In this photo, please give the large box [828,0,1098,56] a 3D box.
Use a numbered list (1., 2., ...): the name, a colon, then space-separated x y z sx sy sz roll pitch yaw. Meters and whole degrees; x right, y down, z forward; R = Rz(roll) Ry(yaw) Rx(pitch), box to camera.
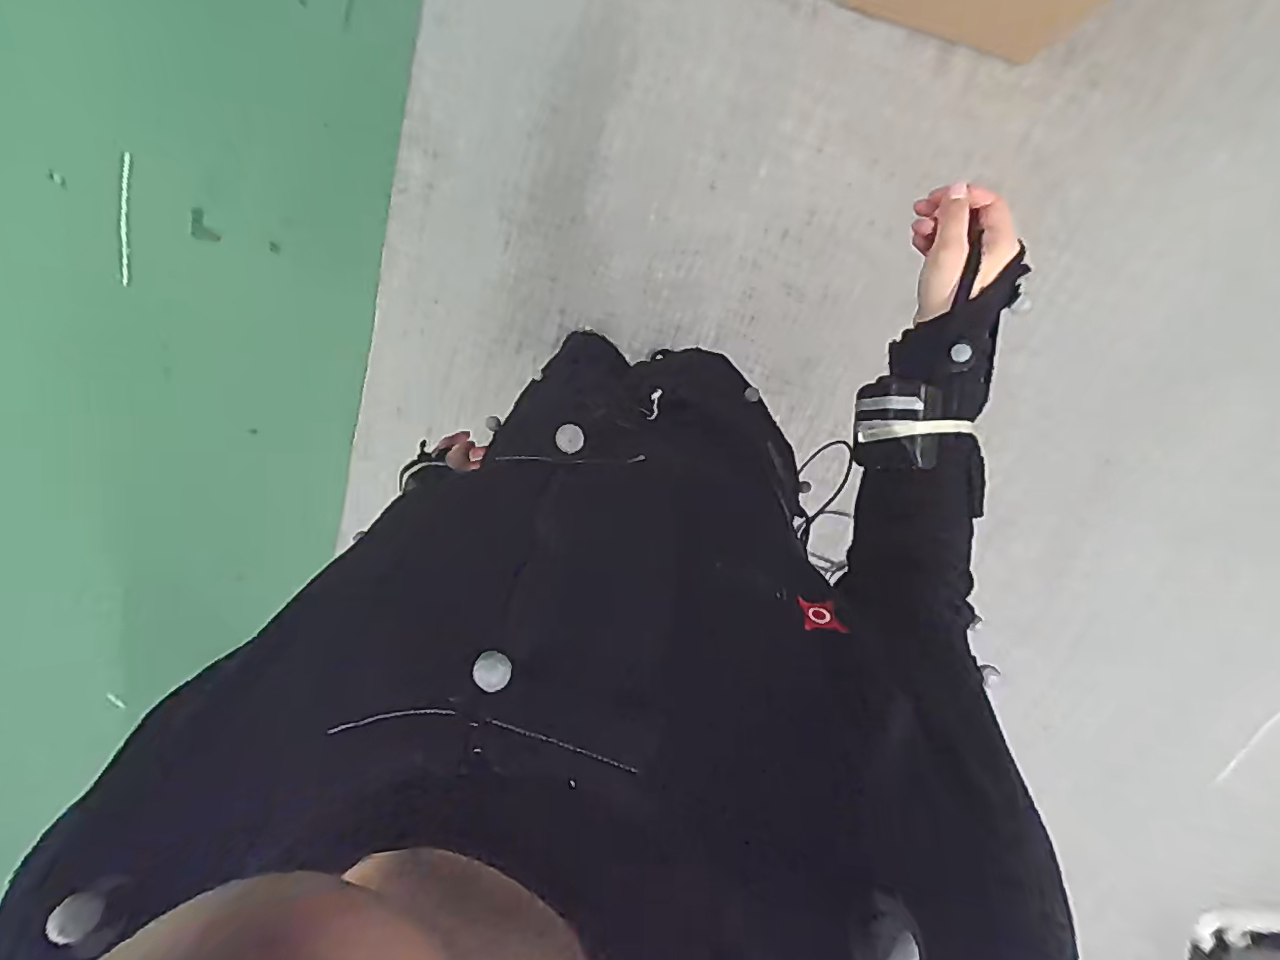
1. large box: 0.565 -0.949 0.842 0.408 0.320 0.320 17 111 0
